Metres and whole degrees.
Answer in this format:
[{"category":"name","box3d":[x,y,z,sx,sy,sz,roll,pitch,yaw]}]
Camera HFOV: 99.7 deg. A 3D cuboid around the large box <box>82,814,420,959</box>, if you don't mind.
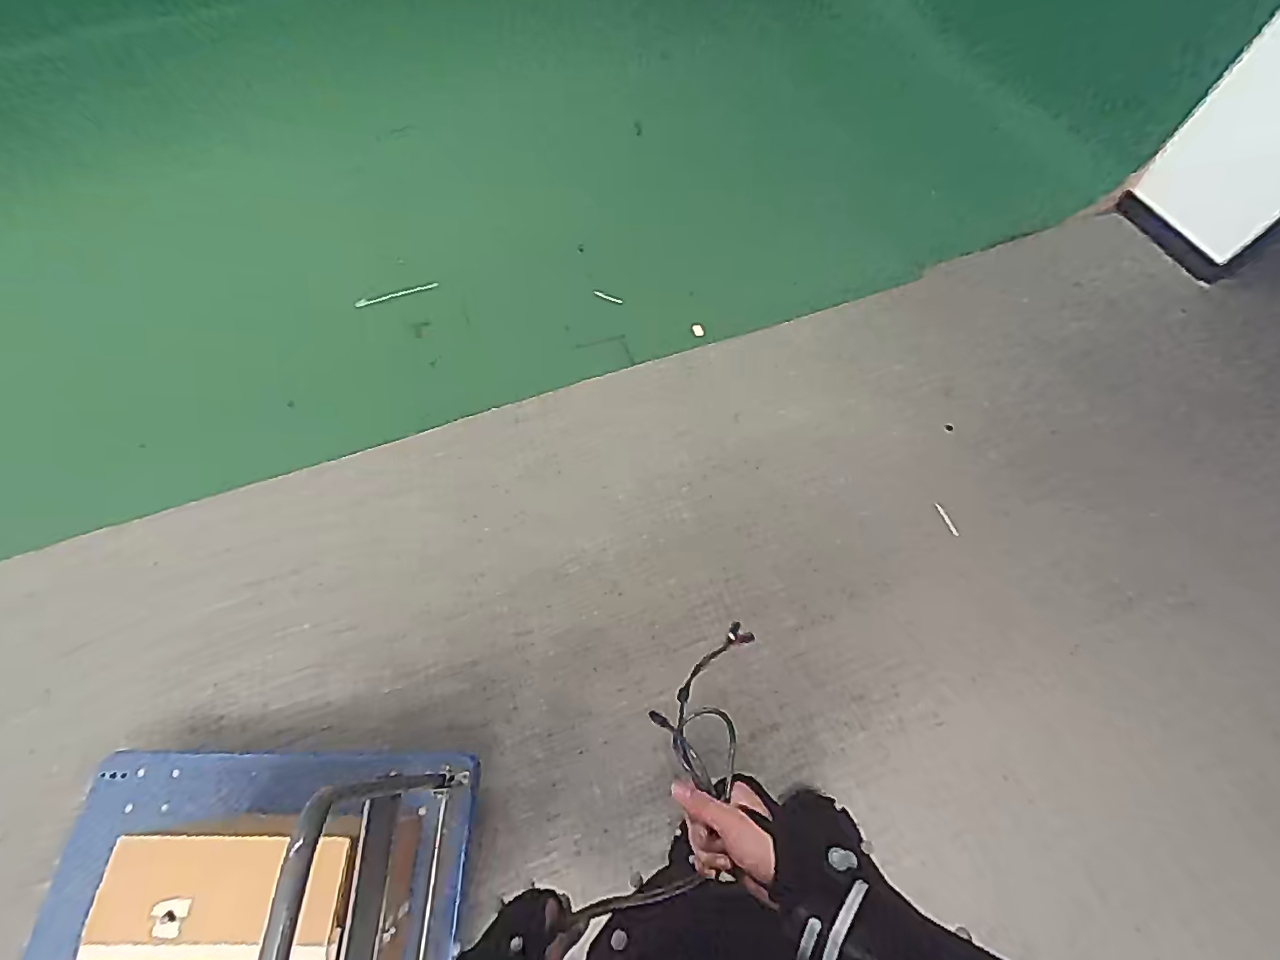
[{"category":"large box","box3d":[-0.675,0.810,0.985,0.408,0.320,0.320,-1,64,2]}]
